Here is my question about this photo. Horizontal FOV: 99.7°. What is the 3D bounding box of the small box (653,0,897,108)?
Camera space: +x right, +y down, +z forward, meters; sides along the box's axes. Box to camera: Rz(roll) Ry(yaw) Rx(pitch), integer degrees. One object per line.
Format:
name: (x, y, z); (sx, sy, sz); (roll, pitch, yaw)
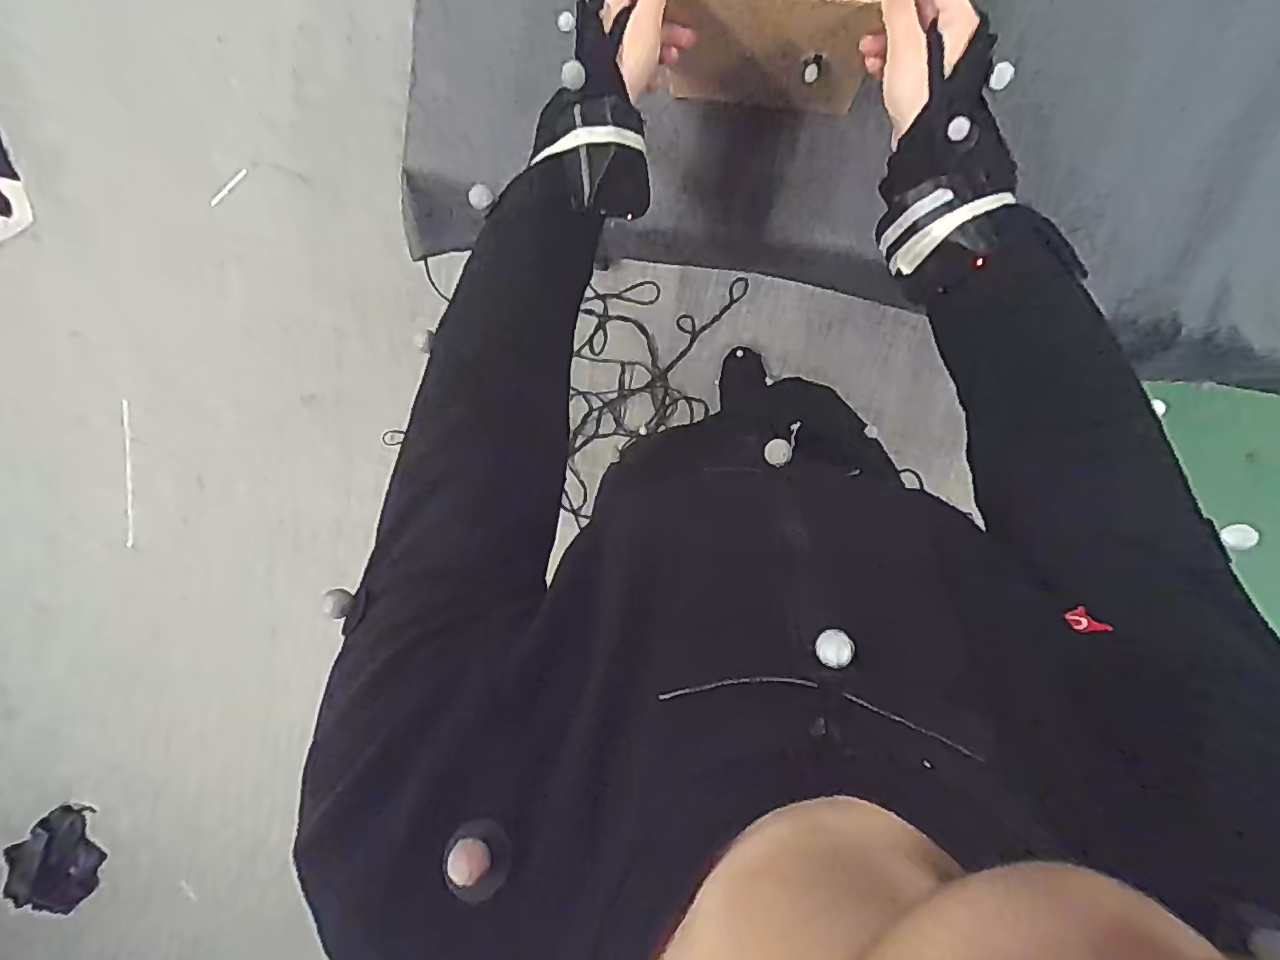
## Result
small box: (0.115, -0.434, 0.439); (0.179, 0.176, 0.168); (10, 102, 7)
